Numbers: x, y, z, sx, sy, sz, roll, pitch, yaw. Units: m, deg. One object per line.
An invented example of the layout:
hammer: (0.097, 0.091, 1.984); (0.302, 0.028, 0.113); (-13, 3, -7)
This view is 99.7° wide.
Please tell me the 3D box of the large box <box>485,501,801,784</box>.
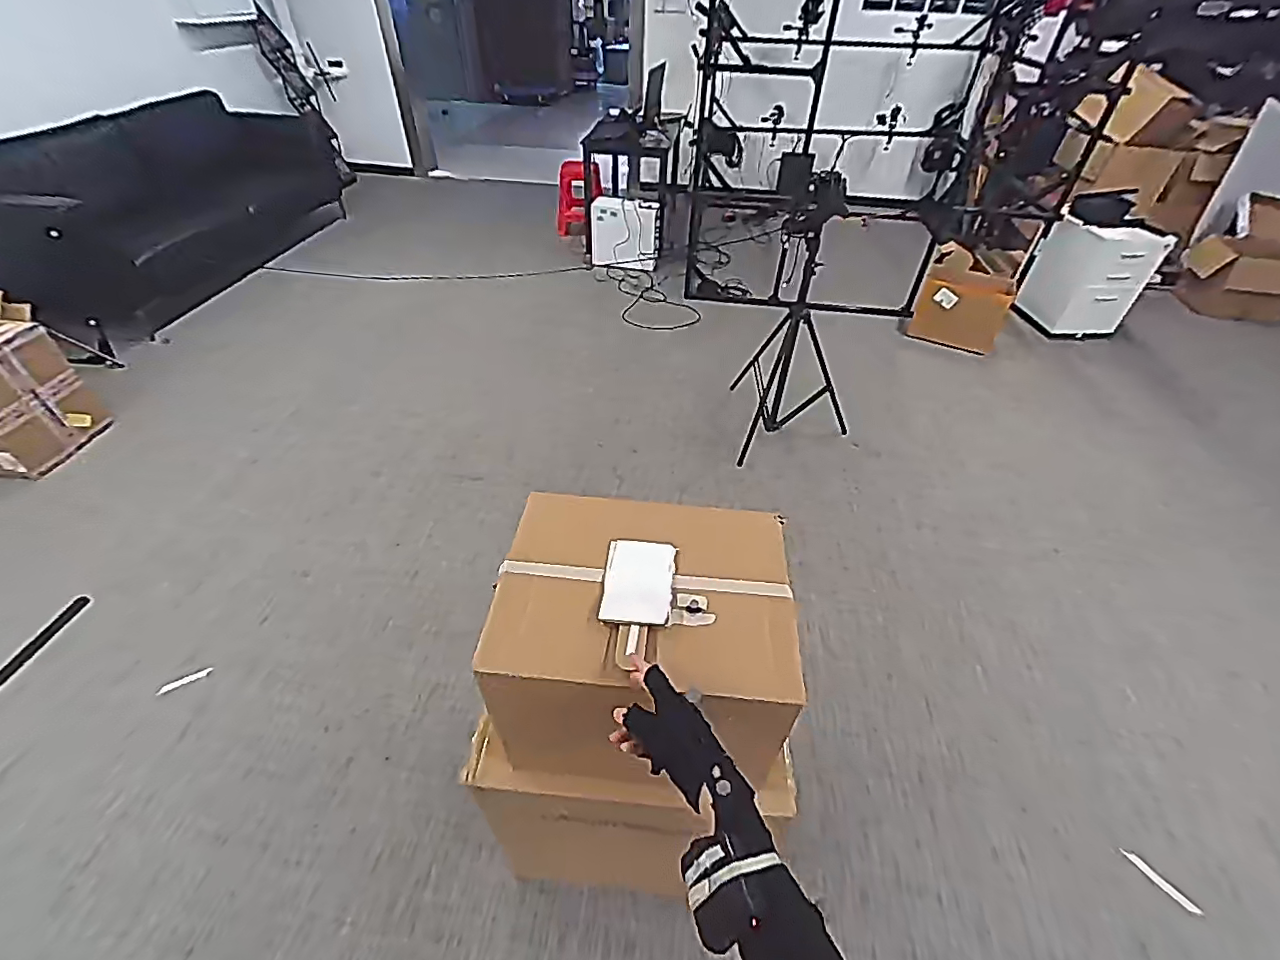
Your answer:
large box: (0.005, 0.261, 0.876); (0.408, 0.320, 0.320); (5, 43, 2)
